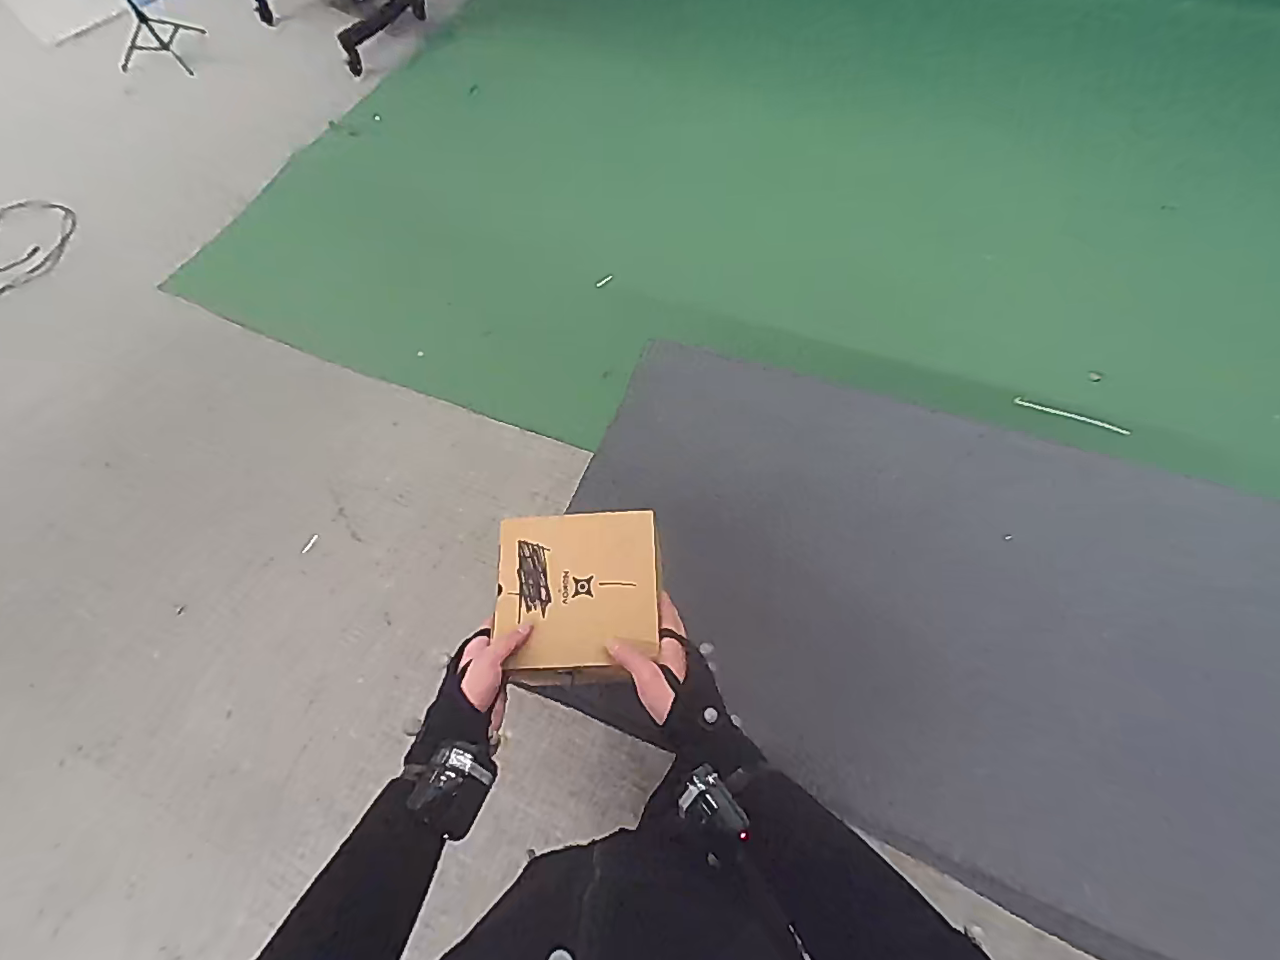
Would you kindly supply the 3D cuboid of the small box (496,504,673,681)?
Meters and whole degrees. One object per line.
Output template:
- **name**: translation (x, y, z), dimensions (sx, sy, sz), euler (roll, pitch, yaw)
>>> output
- **small box**: translation (-0.053, 0.137, 0.627), dimensions (0.179, 0.176, 0.168), euler (-2, 63, 0)
